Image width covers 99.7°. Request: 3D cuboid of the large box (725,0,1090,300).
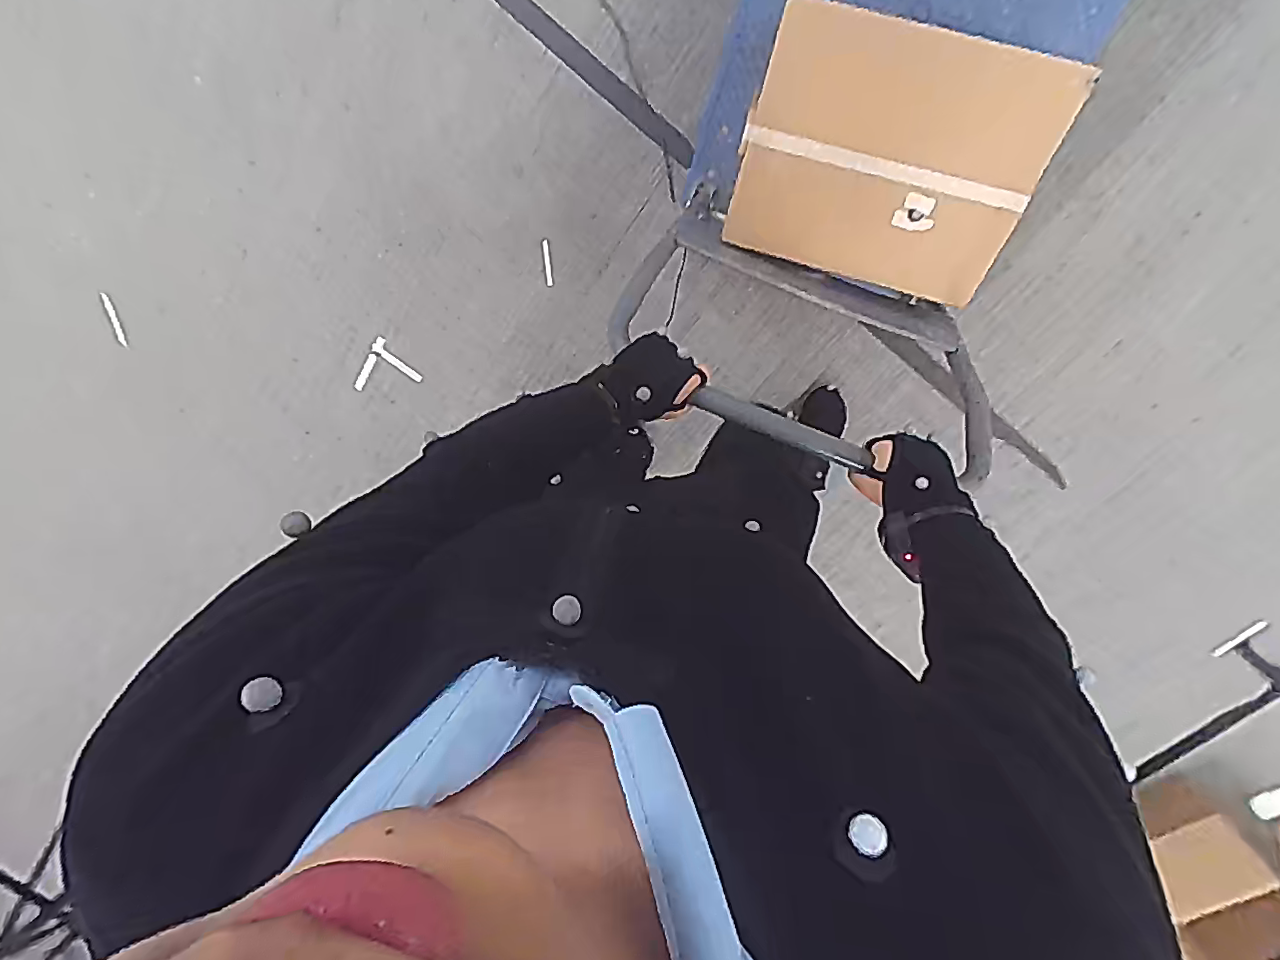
[{"bbox_3d":[0.390,-0.546,0.909,0.408,0.320,0.320,18,128,3],"label":"large box"}]
